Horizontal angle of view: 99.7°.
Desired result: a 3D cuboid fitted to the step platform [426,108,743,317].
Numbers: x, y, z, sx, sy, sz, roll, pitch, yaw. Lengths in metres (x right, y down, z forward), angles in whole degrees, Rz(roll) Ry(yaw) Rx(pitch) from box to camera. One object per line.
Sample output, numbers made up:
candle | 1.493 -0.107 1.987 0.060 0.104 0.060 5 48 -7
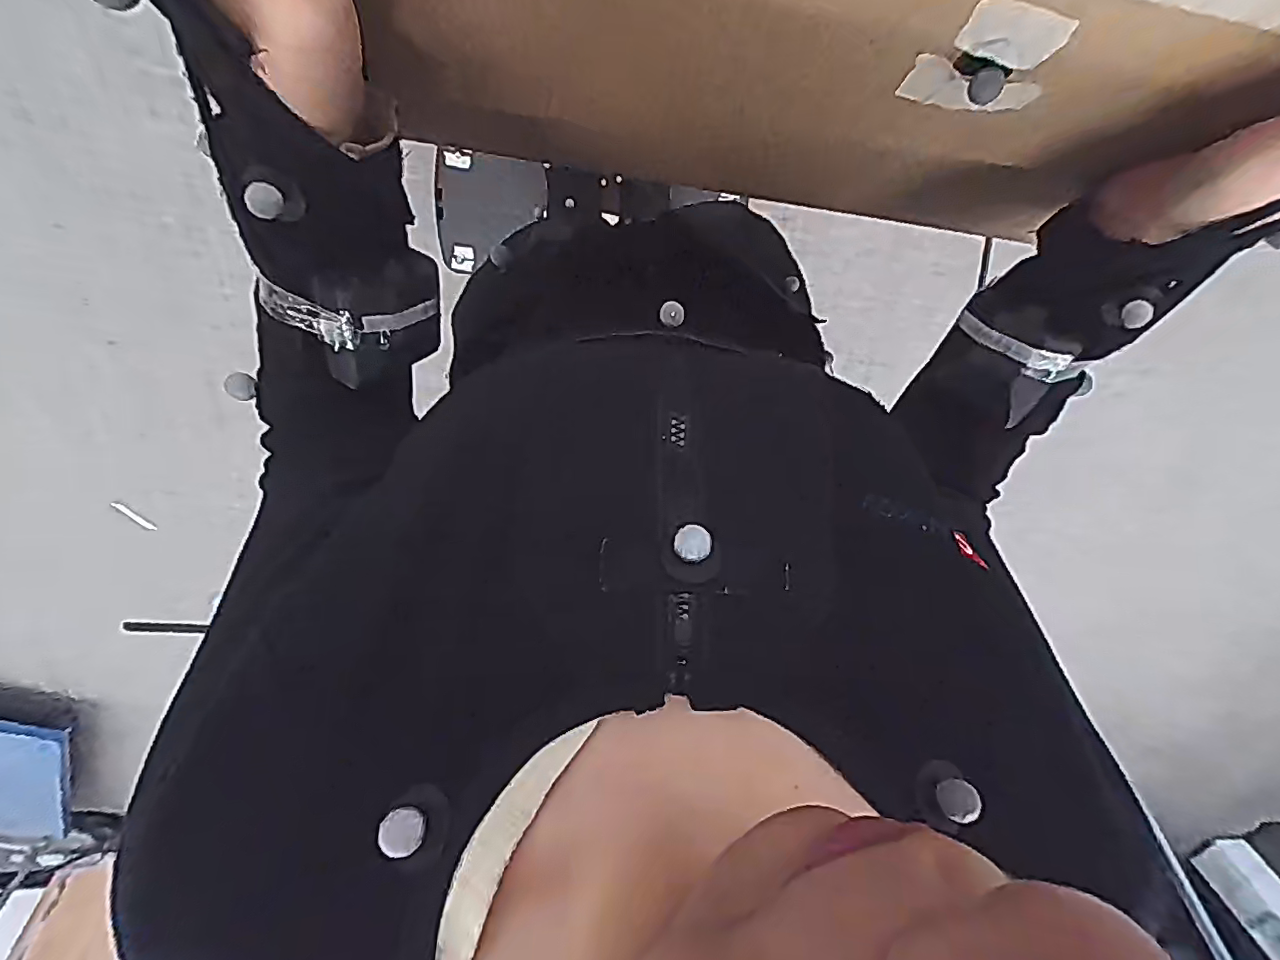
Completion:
step platform | -0.118 -0.587 1.223 0.684 0.204 0.286 10 122 -10
